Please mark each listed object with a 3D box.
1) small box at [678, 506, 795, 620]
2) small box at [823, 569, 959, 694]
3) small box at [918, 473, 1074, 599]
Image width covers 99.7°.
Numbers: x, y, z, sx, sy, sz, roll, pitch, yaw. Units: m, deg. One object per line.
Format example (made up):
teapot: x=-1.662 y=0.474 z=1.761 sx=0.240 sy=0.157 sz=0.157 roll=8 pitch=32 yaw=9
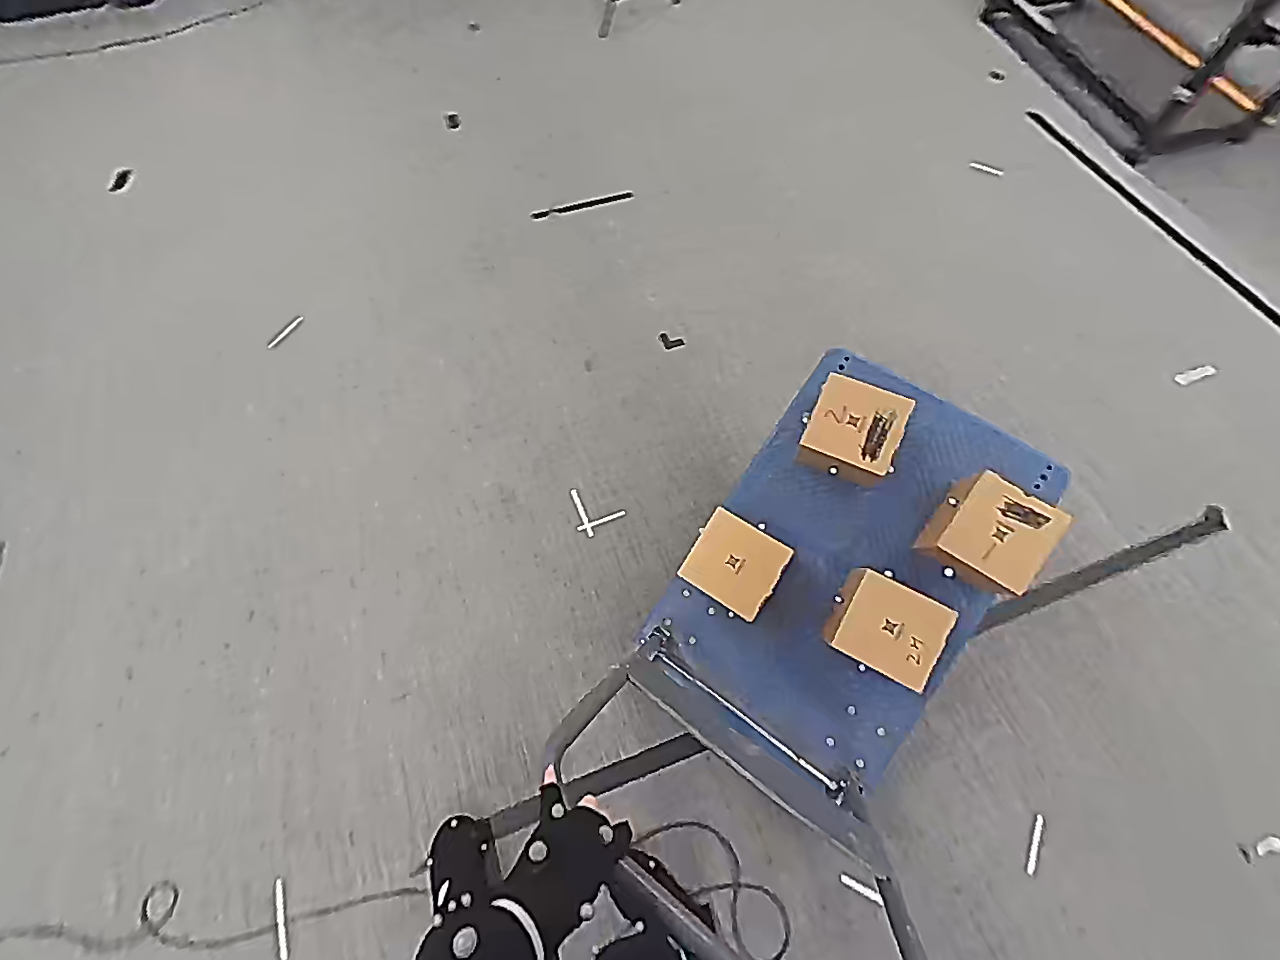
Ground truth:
small box: x=0.204 y=0.176 z=1.152 sx=0.179 sy=0.176 sz=0.168 roll=32 pitch=88 yaw=13
small box: x=0.483 y=0.292 z=1.073 sx=0.179 sy=0.176 sz=0.168 roll=28 pitch=87 yaw=15
small box: x=0.683 y=0.111 z=1.063 sx=0.168 sy=0.176 sz=0.179 roll=35 pitch=90 yaw=15
